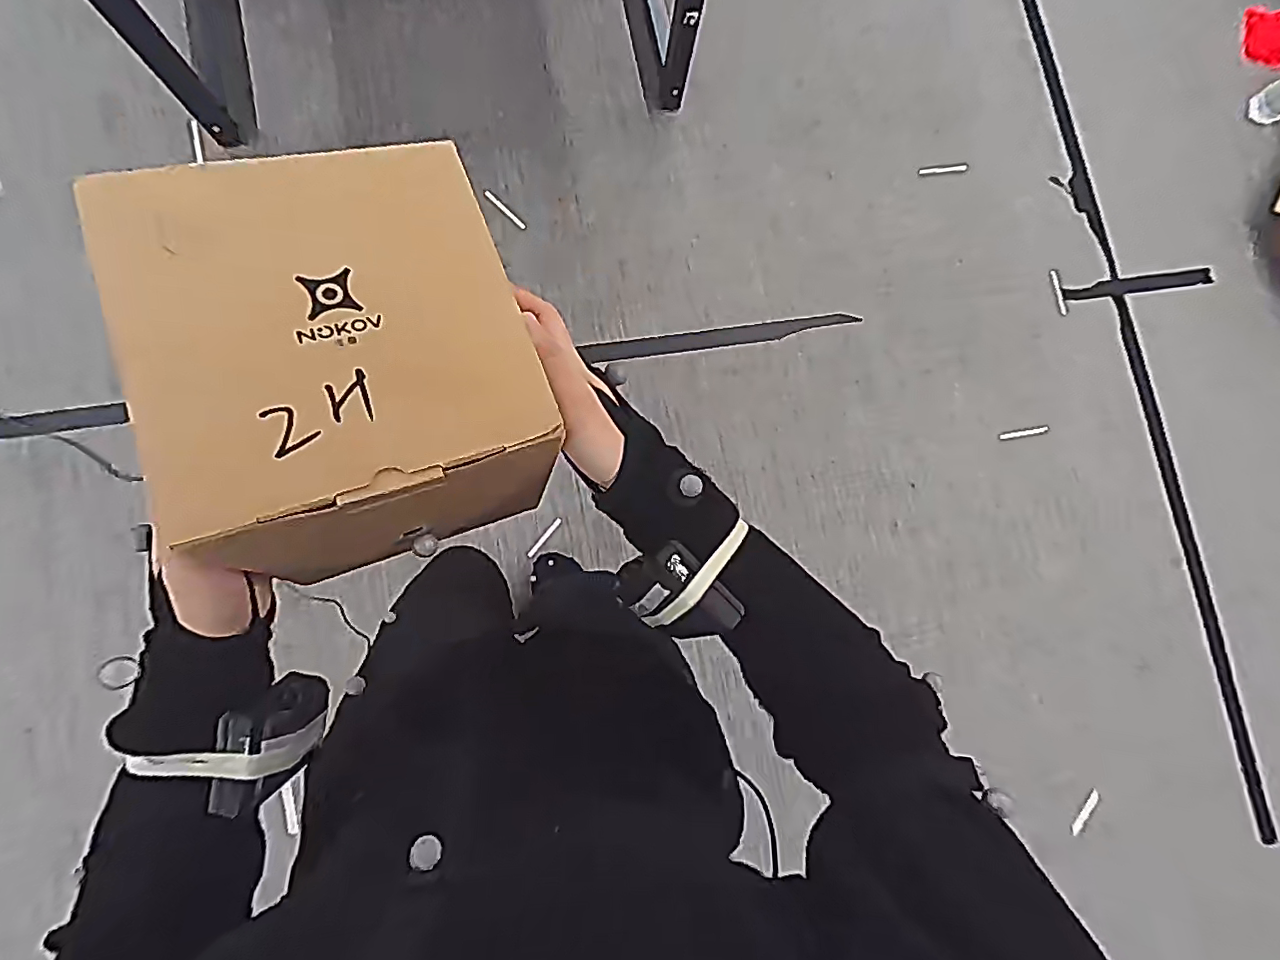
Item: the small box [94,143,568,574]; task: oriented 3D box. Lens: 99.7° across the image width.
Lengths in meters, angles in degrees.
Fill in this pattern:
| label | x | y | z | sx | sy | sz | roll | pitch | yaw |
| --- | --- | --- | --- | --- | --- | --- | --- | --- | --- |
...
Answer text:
| label | x | y | z | sx | sy | sz | roll | pitch | yaw |
| --- | --- | --- | --- | --- | --- | --- | --- | --- | --- |
| small box | -0.159 | -0.058 | 0.326 | 0.168 | 0.176 | 0.179 | -20 | 81 | -19 |
